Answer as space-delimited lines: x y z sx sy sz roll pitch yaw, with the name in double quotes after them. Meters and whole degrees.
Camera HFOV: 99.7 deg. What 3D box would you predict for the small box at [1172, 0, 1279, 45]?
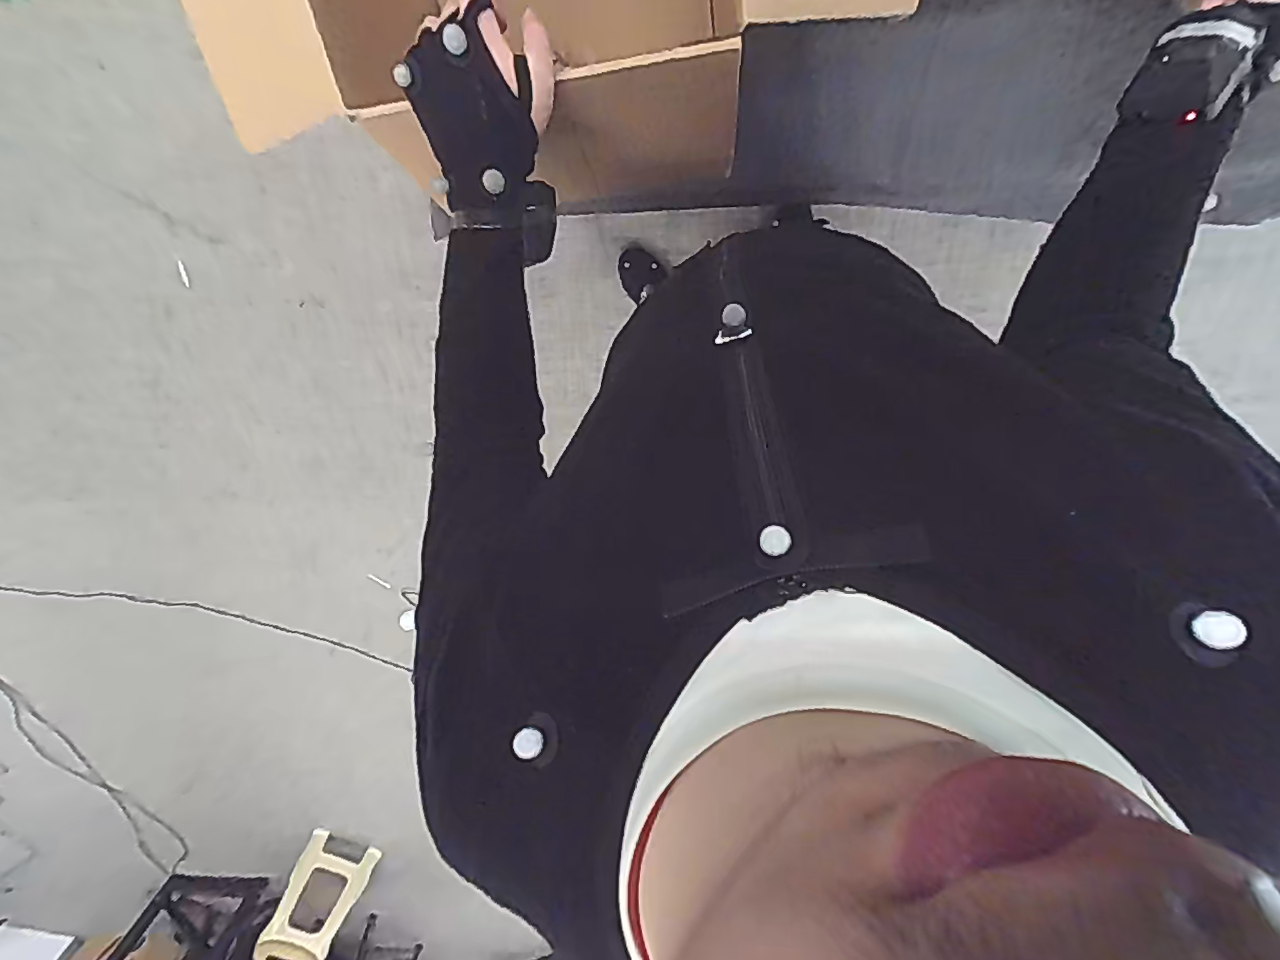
0.562 -0.499 0.436 0.168 0.176 0.179 36 122 -15 "small box"
